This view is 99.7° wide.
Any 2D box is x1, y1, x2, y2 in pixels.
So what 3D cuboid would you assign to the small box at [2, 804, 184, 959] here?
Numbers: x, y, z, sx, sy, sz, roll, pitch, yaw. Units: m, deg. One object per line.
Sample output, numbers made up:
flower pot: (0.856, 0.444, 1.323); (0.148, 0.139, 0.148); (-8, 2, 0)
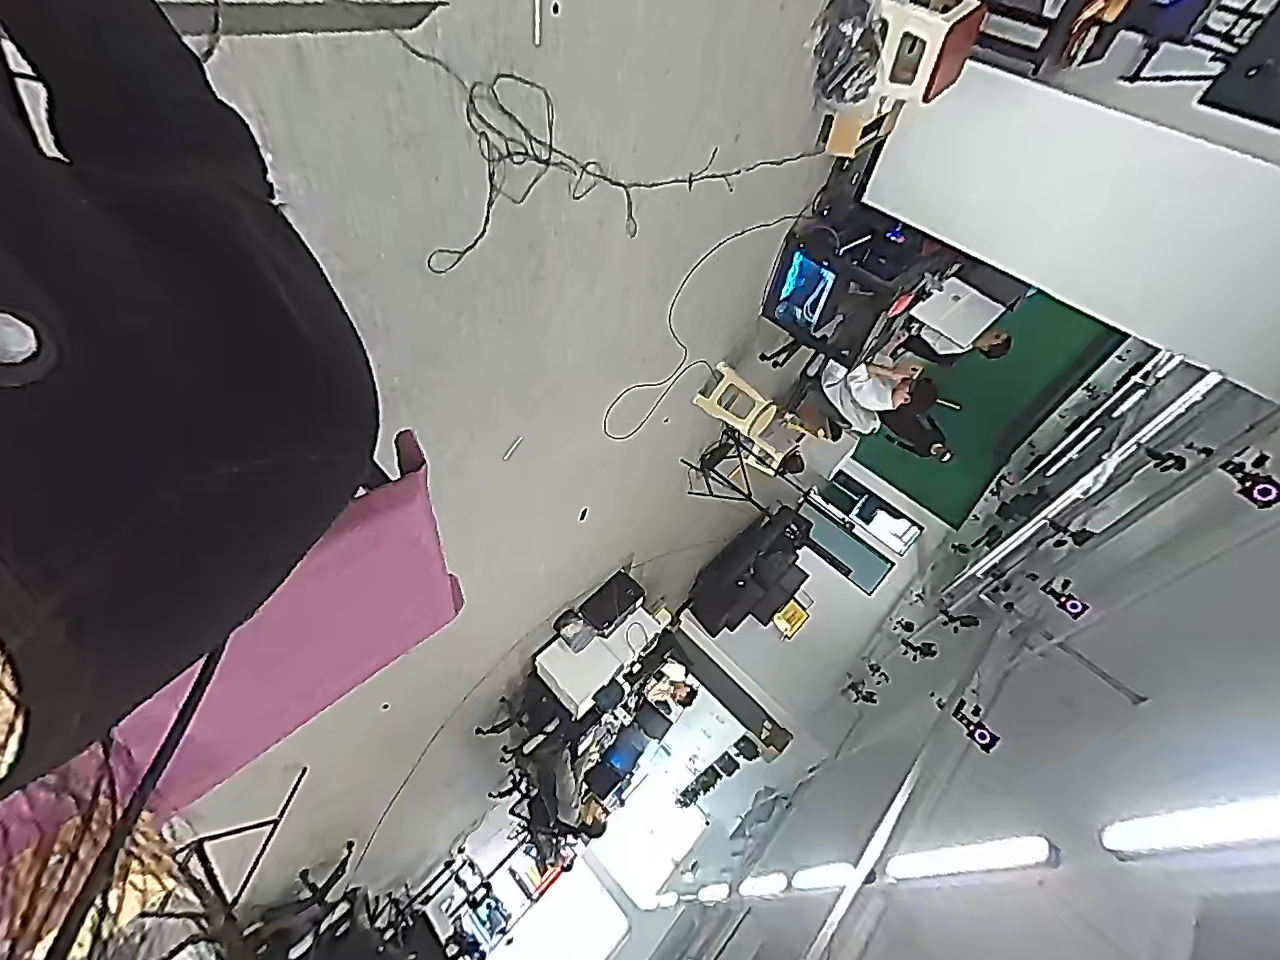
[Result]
small box: (-1.031, 0.756, 1.028); (0.168, 0.176, 0.179); (-36, 153, -33)
